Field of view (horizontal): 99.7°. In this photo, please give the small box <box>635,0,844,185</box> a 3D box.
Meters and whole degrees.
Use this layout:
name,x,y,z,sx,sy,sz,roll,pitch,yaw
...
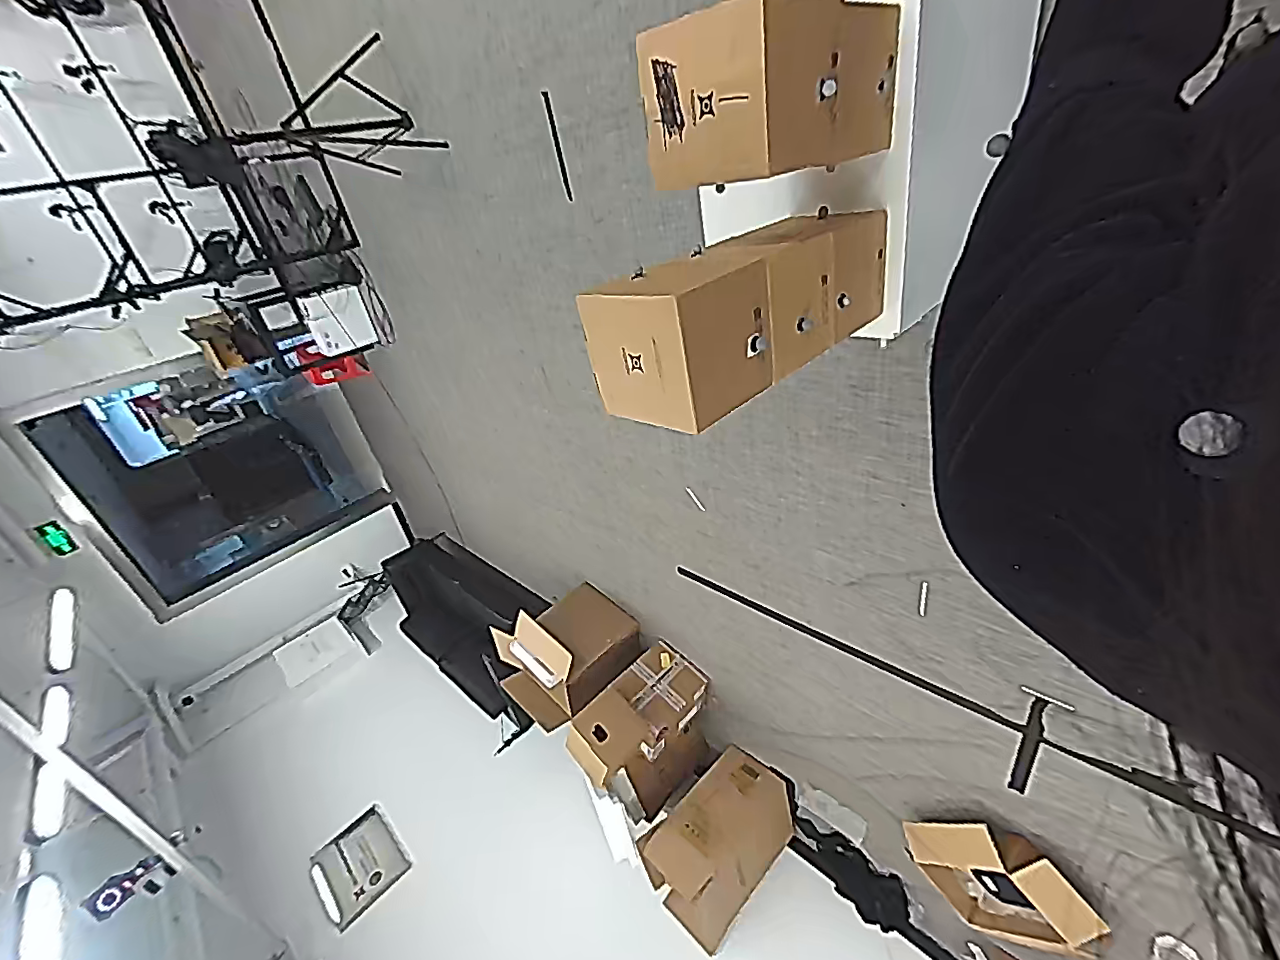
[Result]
name,x,y,z,sx,sy,sz,roll,pitch,yaw
small box,0.122,-0.465,0.653,0.179,0.176,0.168,21,134,40

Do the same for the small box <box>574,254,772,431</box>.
name,x,y,z,sx,sy,sz,roll,pitch,yaw
small box,0.047,-0.184,0.697,0.179,0.176,0.168,18,132,43

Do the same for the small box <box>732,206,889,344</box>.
name,x,y,z,sx,sy,sz,roll,pitch,yaw
small box,0.274,-0.334,0.874,0.179,0.176,0.168,21,134,43

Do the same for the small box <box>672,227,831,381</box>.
name,x,y,z,sx,sy,sz,roll,pitch,yaw
small box,0.162,-0.258,0.785,0.179,0.176,0.168,19,132,43
